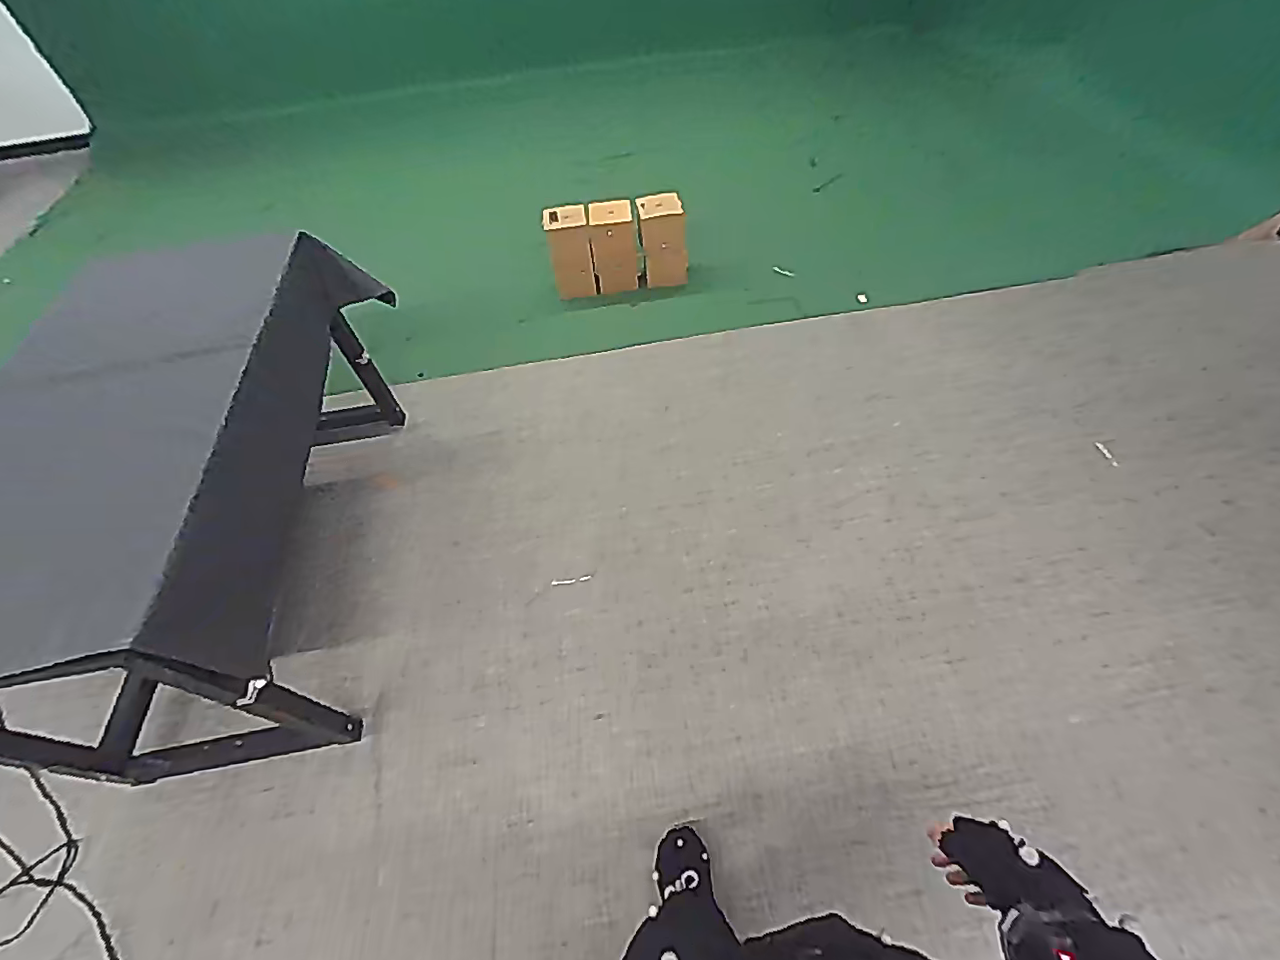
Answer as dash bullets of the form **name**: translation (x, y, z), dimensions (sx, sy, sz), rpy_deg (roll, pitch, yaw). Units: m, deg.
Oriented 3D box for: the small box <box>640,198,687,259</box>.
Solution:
- **small box**: translation (0.098, -1.063, 2.288), dimensions (0.179, 0.176, 0.168), rpy_deg (-8, 53, -3)
